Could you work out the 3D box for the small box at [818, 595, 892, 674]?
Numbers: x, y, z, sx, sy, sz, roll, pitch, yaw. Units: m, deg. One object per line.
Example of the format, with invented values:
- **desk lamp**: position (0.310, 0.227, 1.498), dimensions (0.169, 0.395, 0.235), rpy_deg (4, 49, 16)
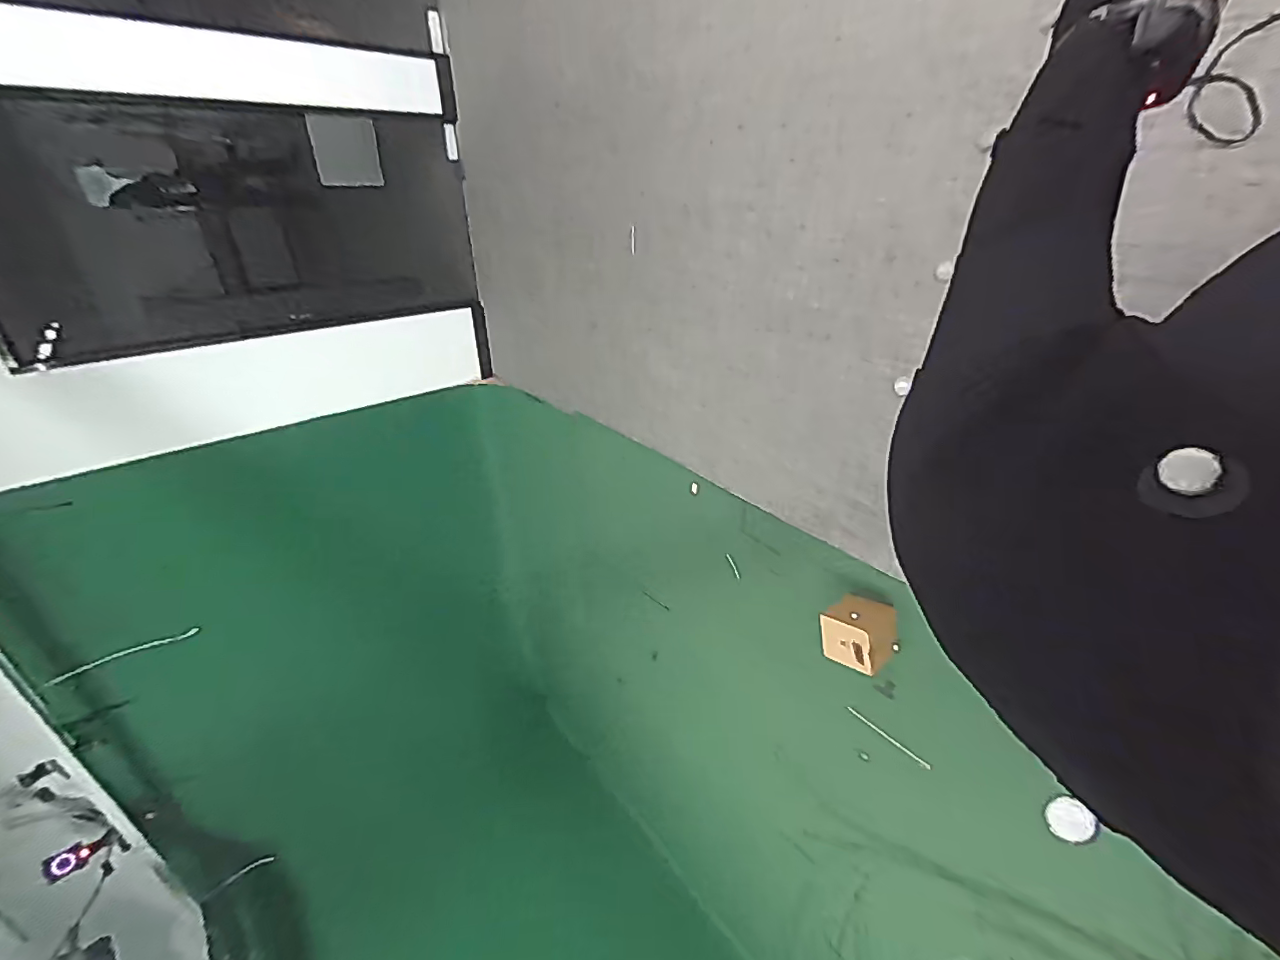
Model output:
- **small box**: position (0.719, 0.504, 1.798), dimensions (0.179, 0.176, 0.168), rpy_deg (12, 117, 51)
